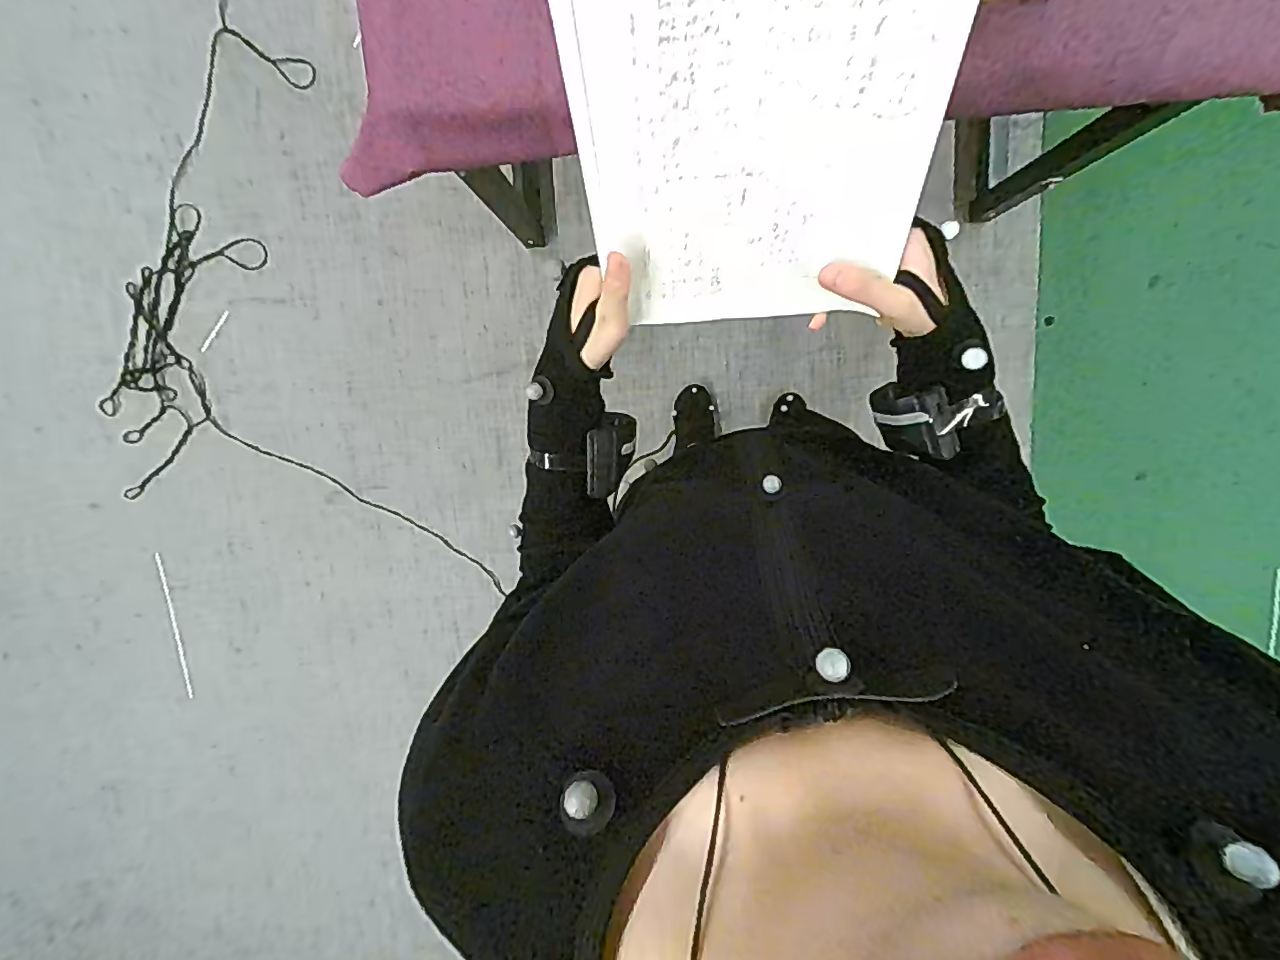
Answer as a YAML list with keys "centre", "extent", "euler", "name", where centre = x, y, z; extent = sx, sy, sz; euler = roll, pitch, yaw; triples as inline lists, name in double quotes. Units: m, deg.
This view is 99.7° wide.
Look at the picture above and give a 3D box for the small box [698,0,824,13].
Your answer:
- centre: [0.142, -0.655, 0.590]
  extent: [0.168, 0.176, 0.179]
  euler: [-2, 99, 3]
  name: "small box"
